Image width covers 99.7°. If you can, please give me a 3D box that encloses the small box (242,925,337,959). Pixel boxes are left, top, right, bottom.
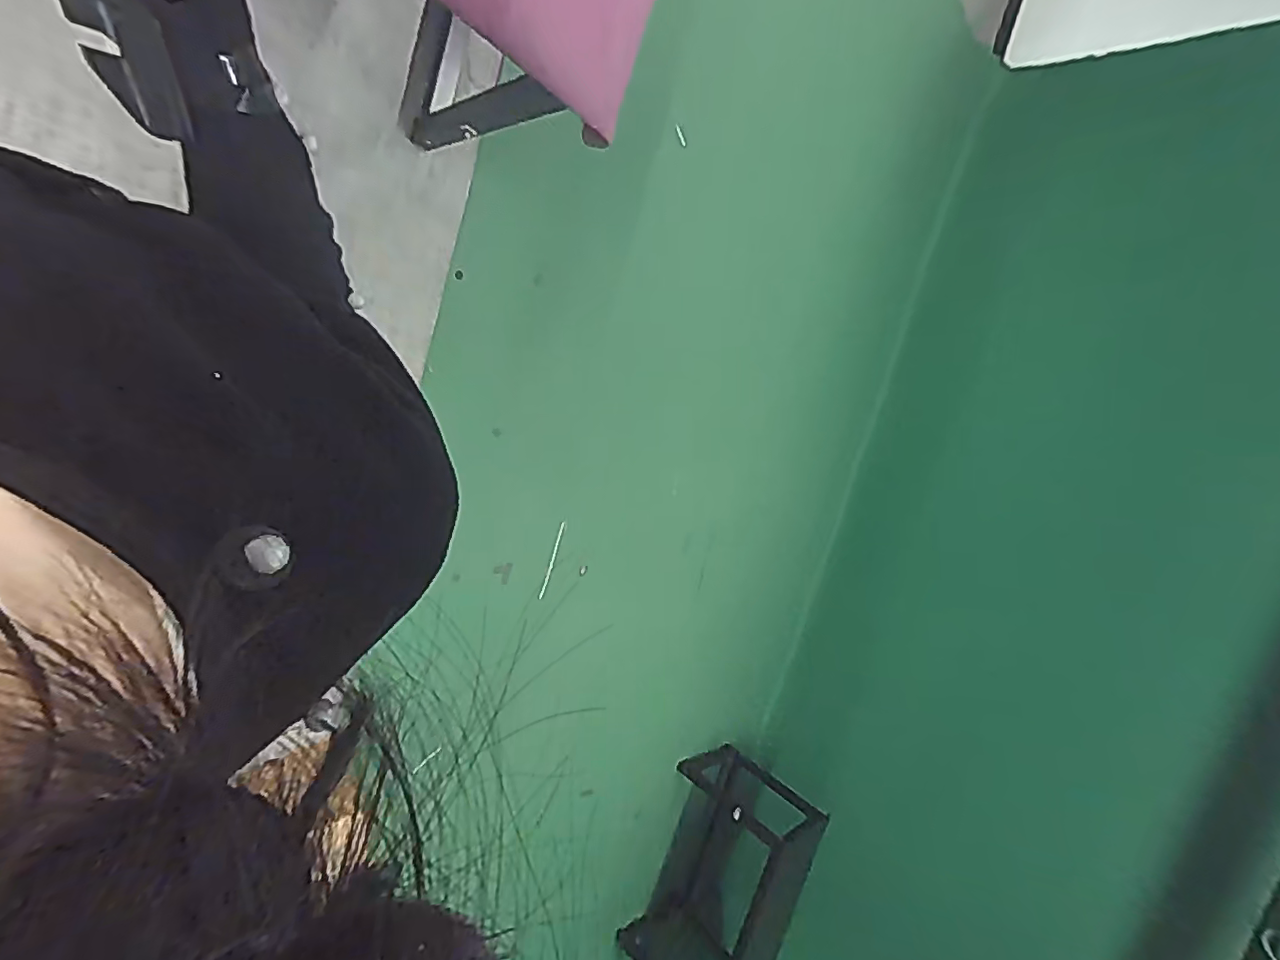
[{"bbox_3d":[-0.754,1.109,1.154,0.168,0.176,0.179,-2,107,-45],"label":"small box"}]

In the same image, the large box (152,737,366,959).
[{"bbox_3d":[-1.008,0.985,1.451,0.408,0.320,0.320,-10,115,-45],"label":"large box"}]

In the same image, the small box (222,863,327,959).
[{"bbox_3d":[-0.859,1.059,1.269,0.179,0.176,0.168,-4,108,-44],"label":"small box"}]
